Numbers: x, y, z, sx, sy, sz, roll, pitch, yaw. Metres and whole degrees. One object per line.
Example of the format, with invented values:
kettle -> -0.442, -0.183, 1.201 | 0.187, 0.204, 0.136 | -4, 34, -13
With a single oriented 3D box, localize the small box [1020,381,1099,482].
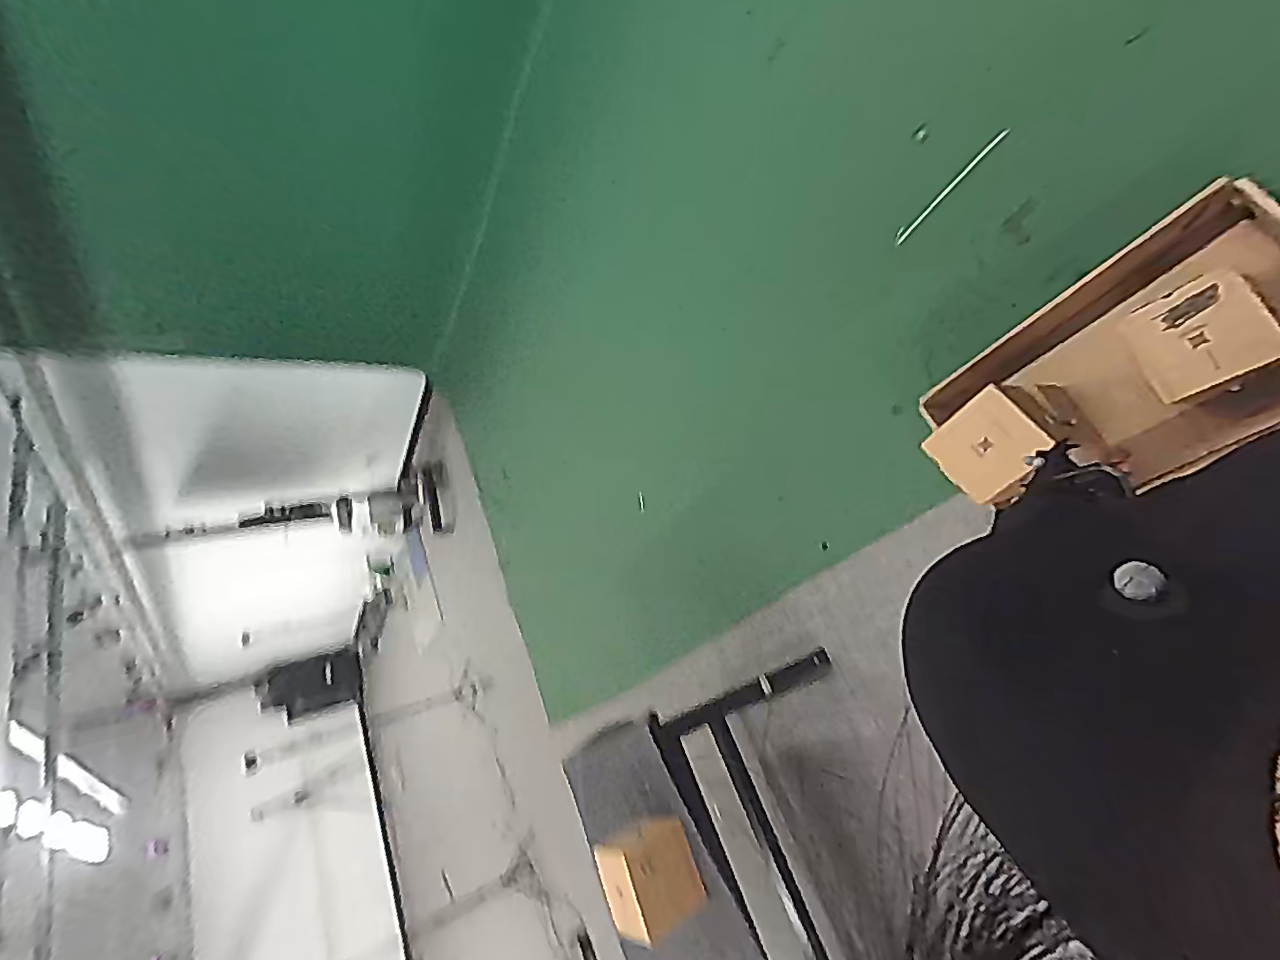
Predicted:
small box -> 0.836, -0.096, 1.173 | 0.179, 0.176, 0.168 | -46, 61, 45

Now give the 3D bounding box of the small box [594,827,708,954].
small box -> 0.025, 0.931, 1.250 | 0.168, 0.176, 0.179 | -44, 62, 48

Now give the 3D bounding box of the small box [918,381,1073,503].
small box -> 0.706, -0.077, 1.074 | 0.168, 0.176, 0.179 | 57, 133, 27

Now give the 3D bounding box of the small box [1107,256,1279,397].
small box -> 0.987, -0.262, 0.958 | 0.168, 0.176, 0.179 | -39, 67, 48
